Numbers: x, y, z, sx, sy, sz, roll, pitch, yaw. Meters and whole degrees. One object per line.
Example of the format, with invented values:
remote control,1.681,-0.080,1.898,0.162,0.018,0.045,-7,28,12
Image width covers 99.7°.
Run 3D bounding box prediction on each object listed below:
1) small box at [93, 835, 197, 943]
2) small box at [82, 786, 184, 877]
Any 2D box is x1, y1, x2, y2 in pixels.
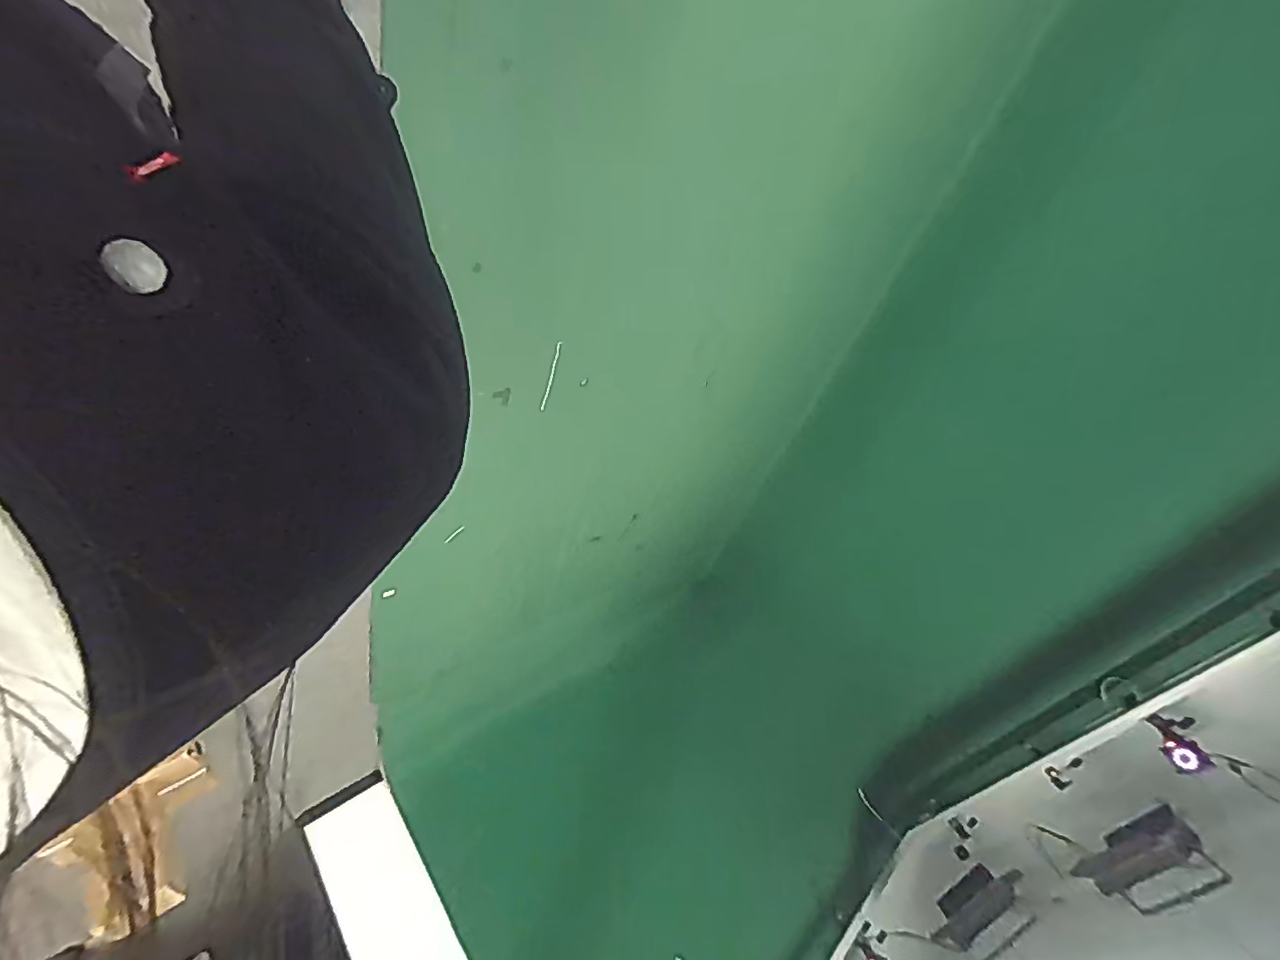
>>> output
small box,-1.424,1.169,1.557,0.168,0.176,0.179,-23,144,-36
small box,-1.530,1.070,1.633,0.179,0.176,0.168,-22,143,-36
